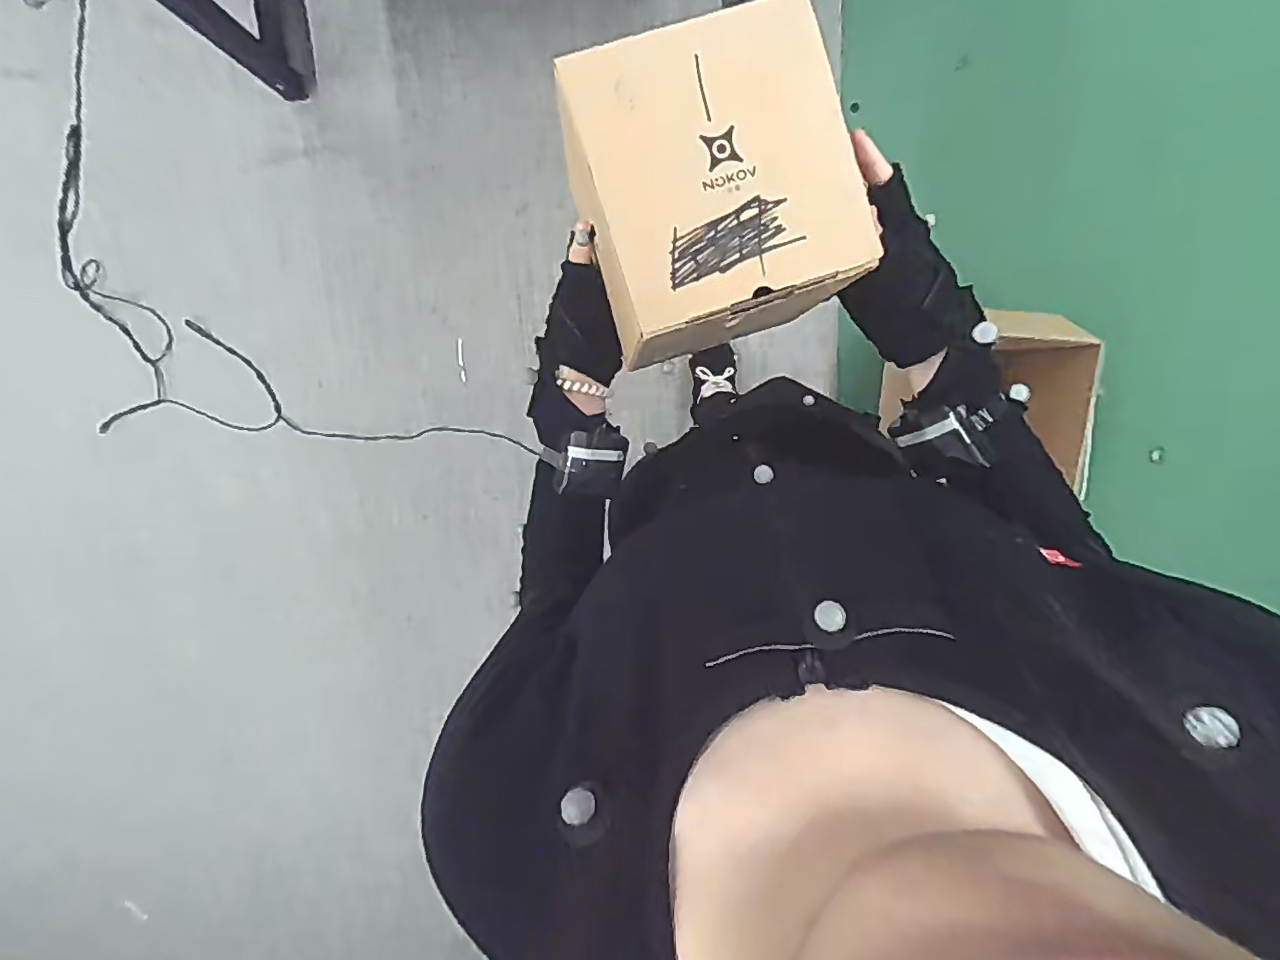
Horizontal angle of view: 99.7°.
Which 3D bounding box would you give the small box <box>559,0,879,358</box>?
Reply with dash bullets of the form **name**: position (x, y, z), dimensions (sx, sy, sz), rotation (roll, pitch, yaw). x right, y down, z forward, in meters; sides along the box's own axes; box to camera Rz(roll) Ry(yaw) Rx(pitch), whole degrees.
- **small box**: position (0.047, -0.203, 0.417), dimensions (0.168, 0.176, 0.179), rotation (-18, 94, -3)
